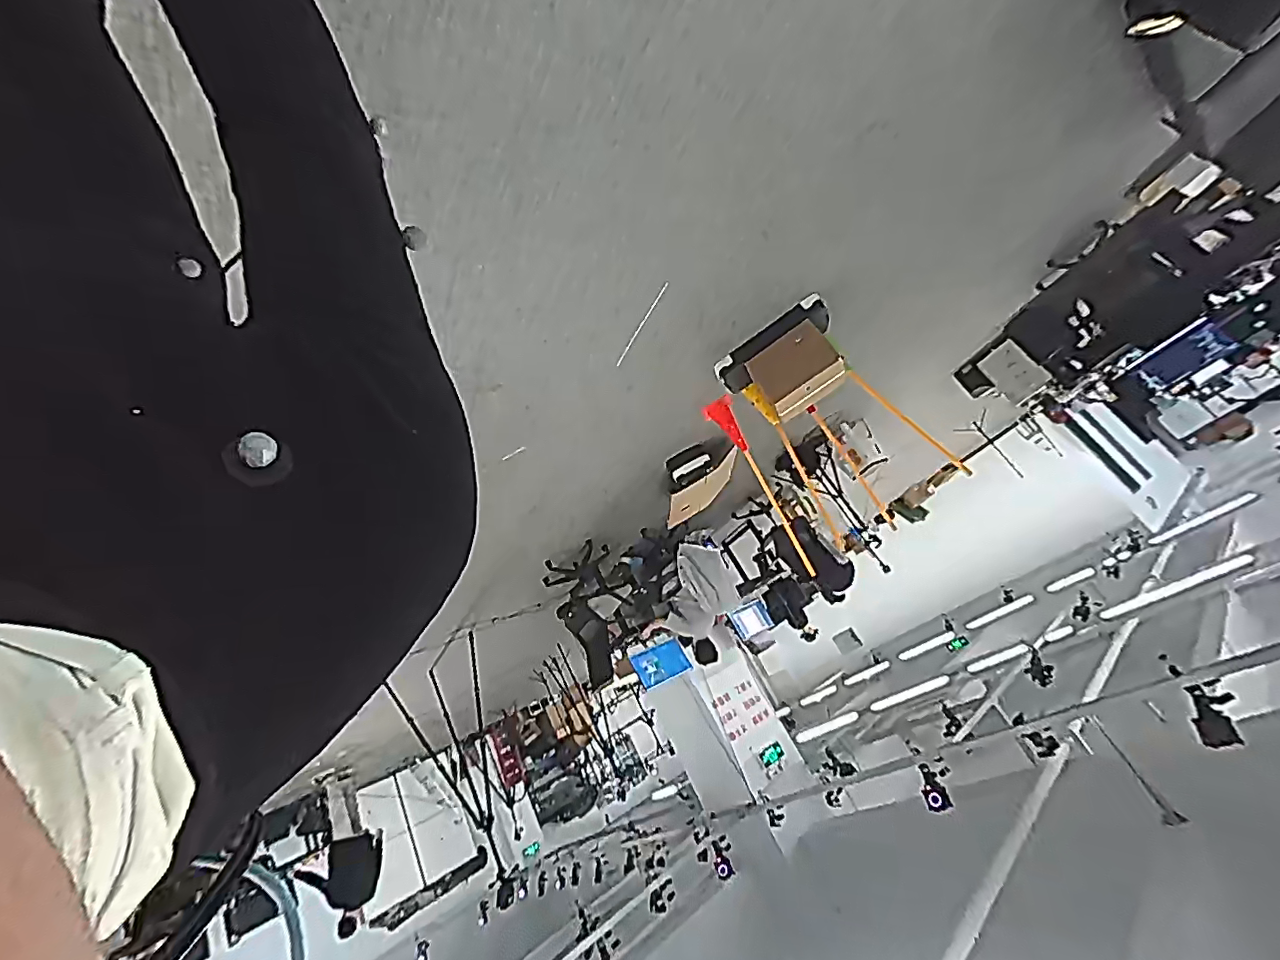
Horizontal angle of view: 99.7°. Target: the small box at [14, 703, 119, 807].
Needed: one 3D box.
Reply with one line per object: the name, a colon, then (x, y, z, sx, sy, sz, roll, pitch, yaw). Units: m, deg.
small box: (-1.471, 0.702, 1.392, 0.168, 0.176, 0.179, -9, 150, -43)
